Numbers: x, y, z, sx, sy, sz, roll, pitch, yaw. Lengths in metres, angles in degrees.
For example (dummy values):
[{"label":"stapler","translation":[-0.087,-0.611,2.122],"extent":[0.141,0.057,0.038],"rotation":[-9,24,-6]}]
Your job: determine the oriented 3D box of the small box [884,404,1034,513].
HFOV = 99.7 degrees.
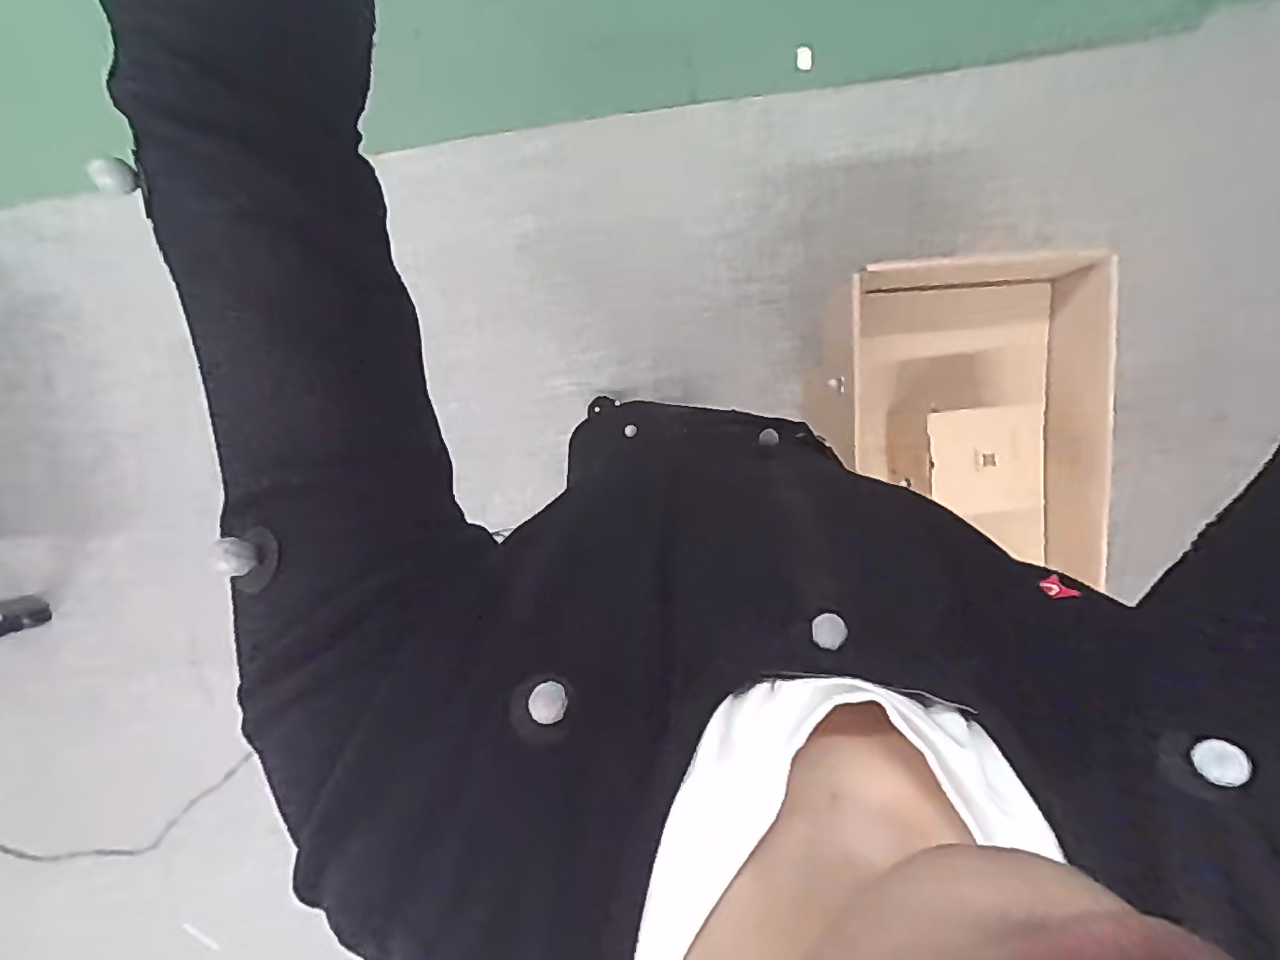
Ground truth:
[{"label":"small box","translation":[0.539,-0.042,0.938],"extent":[0.179,0.176,0.168],"rotation":[-5,97,2]}]
